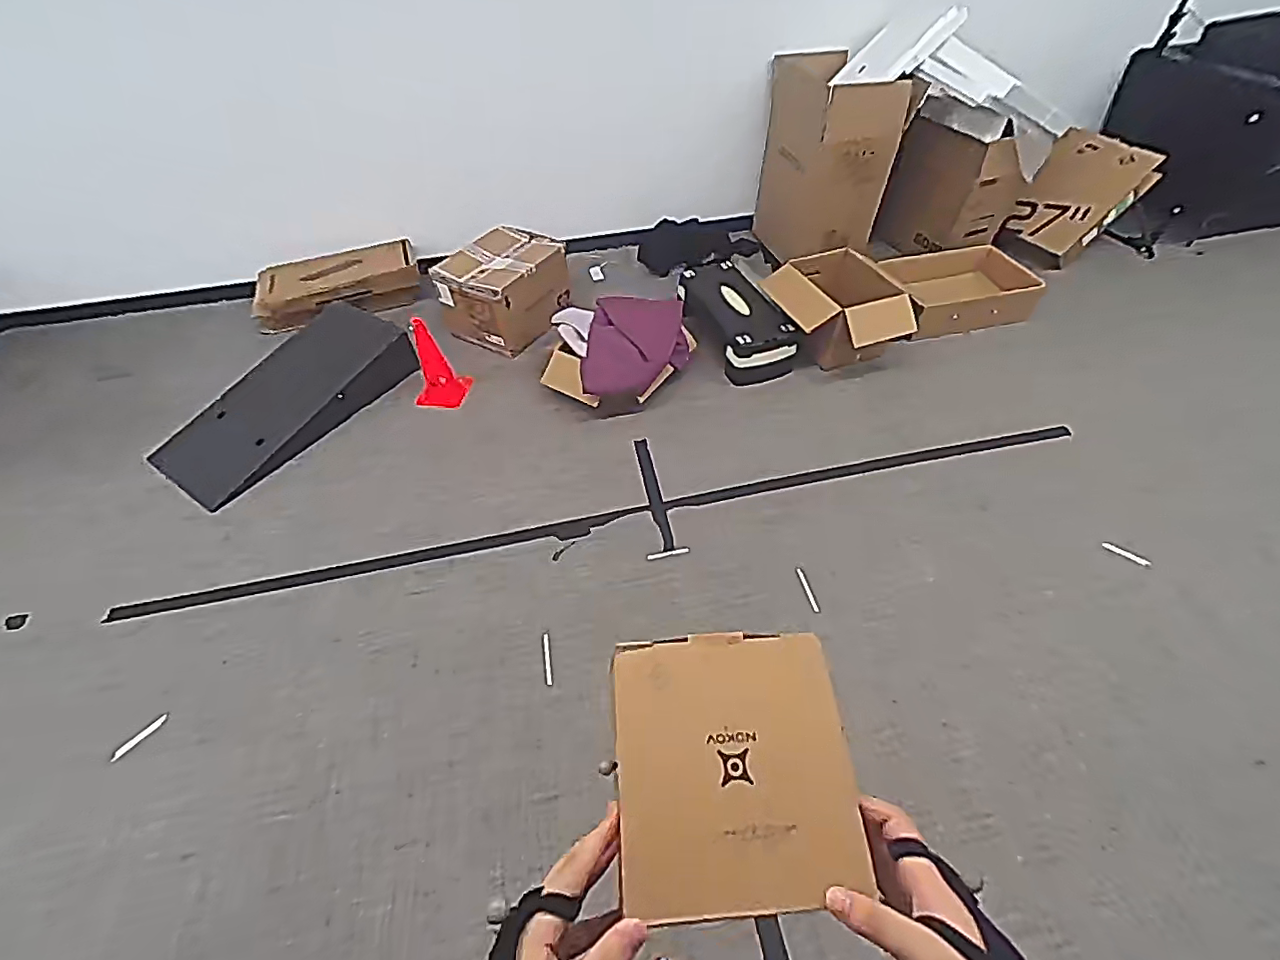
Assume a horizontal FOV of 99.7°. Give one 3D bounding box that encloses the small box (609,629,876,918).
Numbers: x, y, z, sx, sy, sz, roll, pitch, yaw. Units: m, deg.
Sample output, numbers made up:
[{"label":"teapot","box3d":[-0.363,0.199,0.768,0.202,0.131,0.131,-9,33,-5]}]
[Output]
[{"label":"small box","box3d":[0.060,0.235,0.448,0.168,0.176,0.179,-1,59,-5]}]
